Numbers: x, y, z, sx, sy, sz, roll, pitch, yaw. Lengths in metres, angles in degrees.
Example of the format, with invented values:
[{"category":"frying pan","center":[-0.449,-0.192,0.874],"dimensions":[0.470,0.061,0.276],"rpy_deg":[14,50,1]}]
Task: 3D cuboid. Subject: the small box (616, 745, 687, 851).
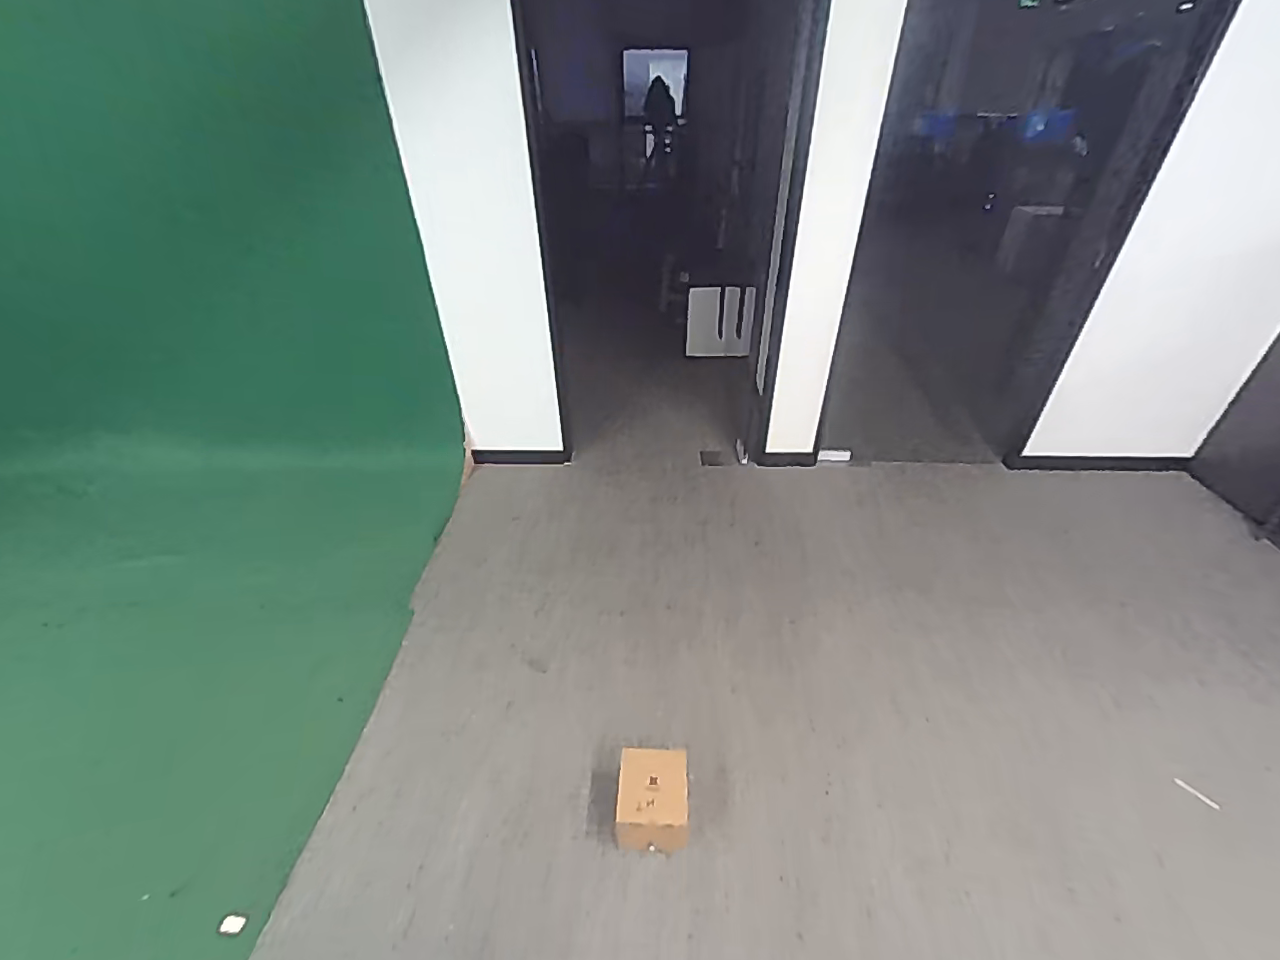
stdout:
[{"category":"small box","center":[0.033,0.789,1.345],"dimensions":[0.168,0.176,0.179],"rpy_deg":[1,38,4]}]
